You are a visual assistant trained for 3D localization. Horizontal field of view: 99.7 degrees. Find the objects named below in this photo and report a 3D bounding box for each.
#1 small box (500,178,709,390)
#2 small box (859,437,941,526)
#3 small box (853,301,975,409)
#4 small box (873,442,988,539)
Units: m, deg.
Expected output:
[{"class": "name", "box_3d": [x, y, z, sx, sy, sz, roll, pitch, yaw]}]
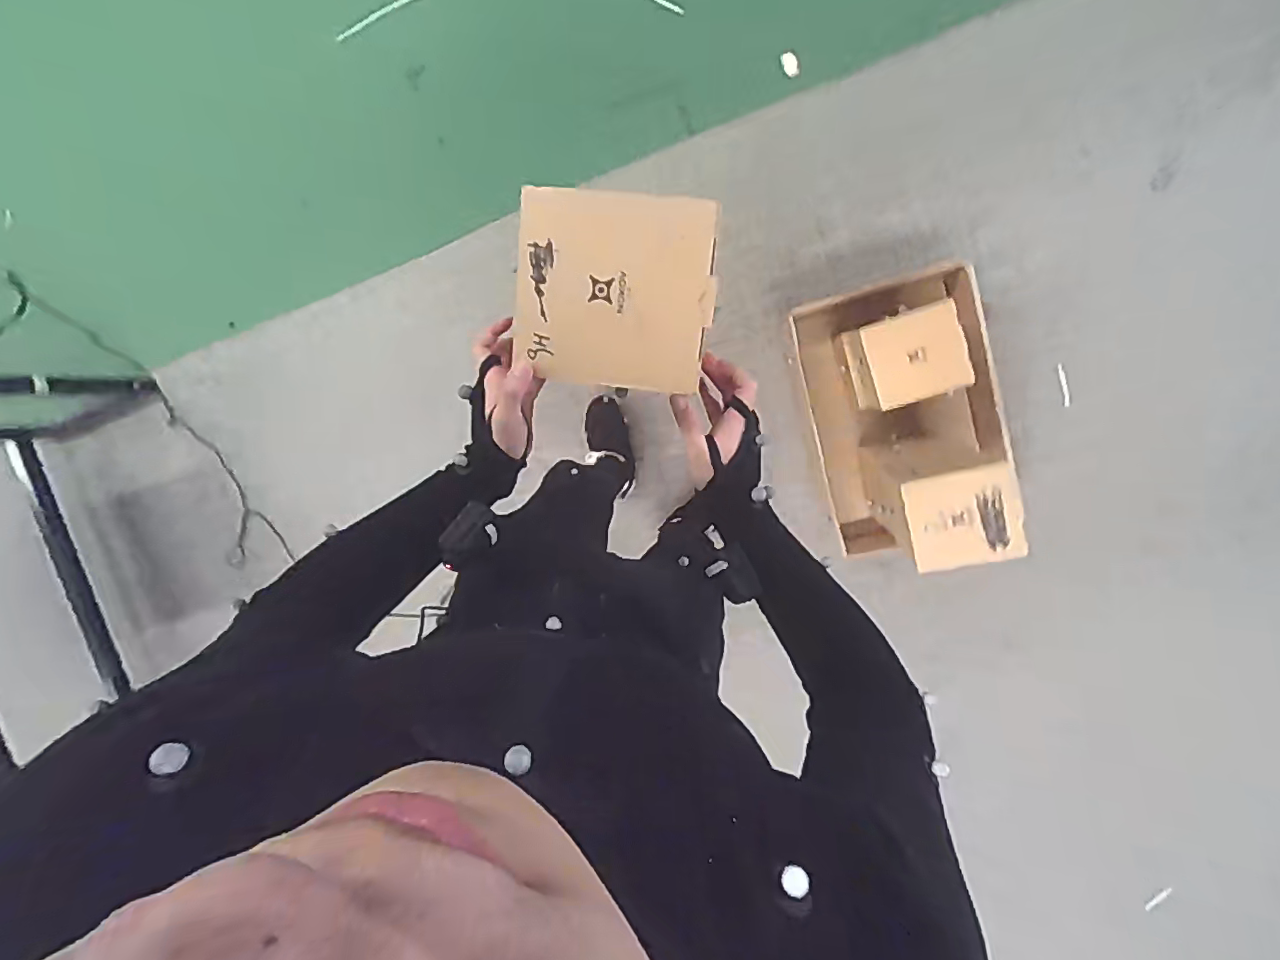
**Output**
[{"class": "small box", "box_3d": [-0.028, -0.186, 0.553, 0.179, 0.176, 0.168, 7, 101, 5]}, {"class": "small box", "box_3d": [0.637, -0.001, 1.305, 0.168, 0.176, 0.179, -10, 96, 14]}, {"class": "small box", "box_3d": [0.552, -0.249, 1.118, 0.179, 0.176, 0.168, -17, 95, 14]}, {"class": "small box", "box_3d": [0.604, 0.018, 1.147, 0.179, 0.176, 0.168, -10, 97, 14]}]
